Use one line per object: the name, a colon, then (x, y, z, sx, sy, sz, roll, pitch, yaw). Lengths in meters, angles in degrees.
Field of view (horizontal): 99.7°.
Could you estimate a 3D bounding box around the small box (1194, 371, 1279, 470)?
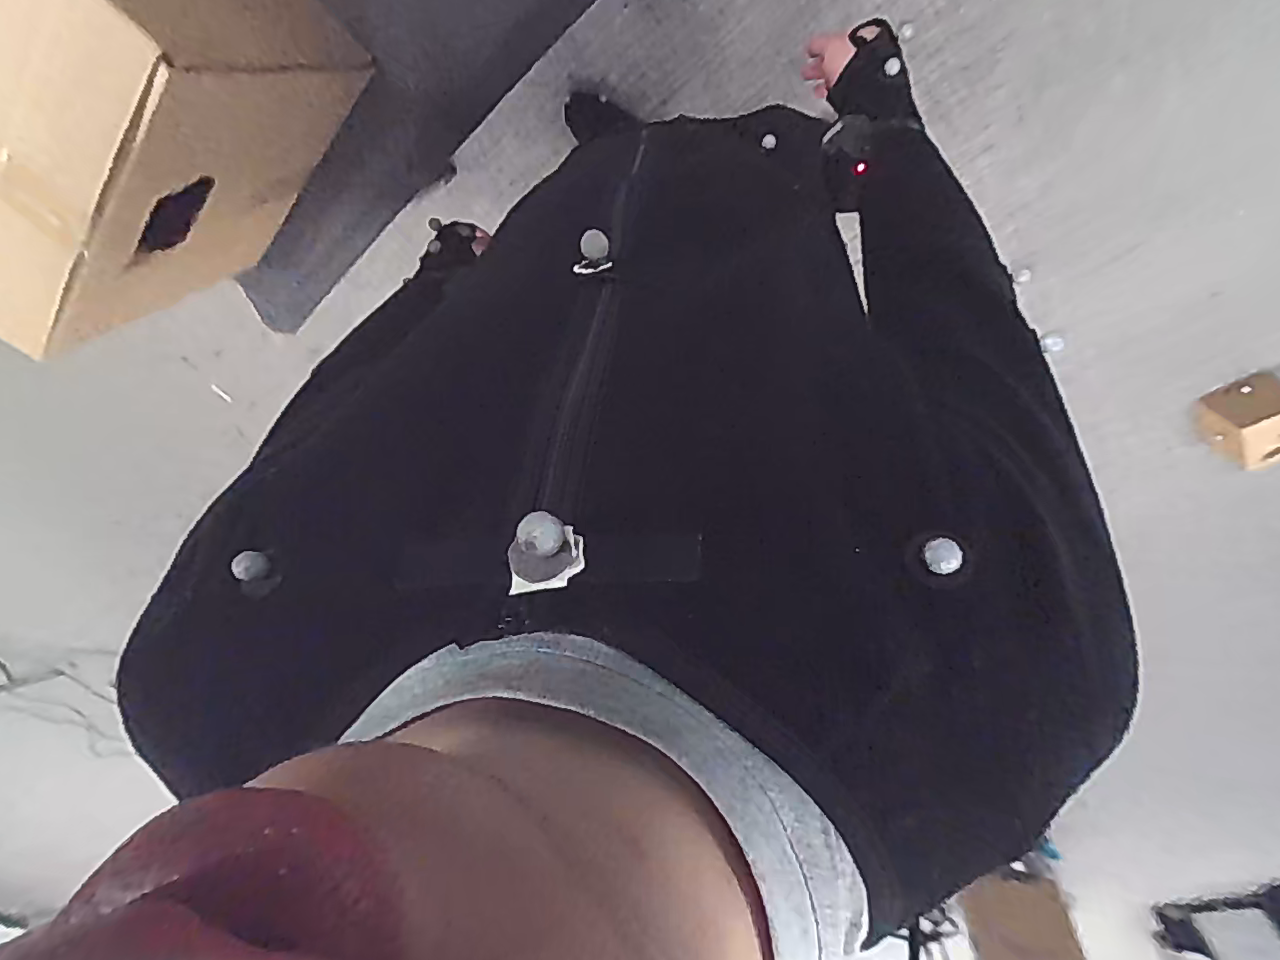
small box: (1.703, -0.167, 1.500, 0.168, 0.176, 0.179, -30, 121, 24)
